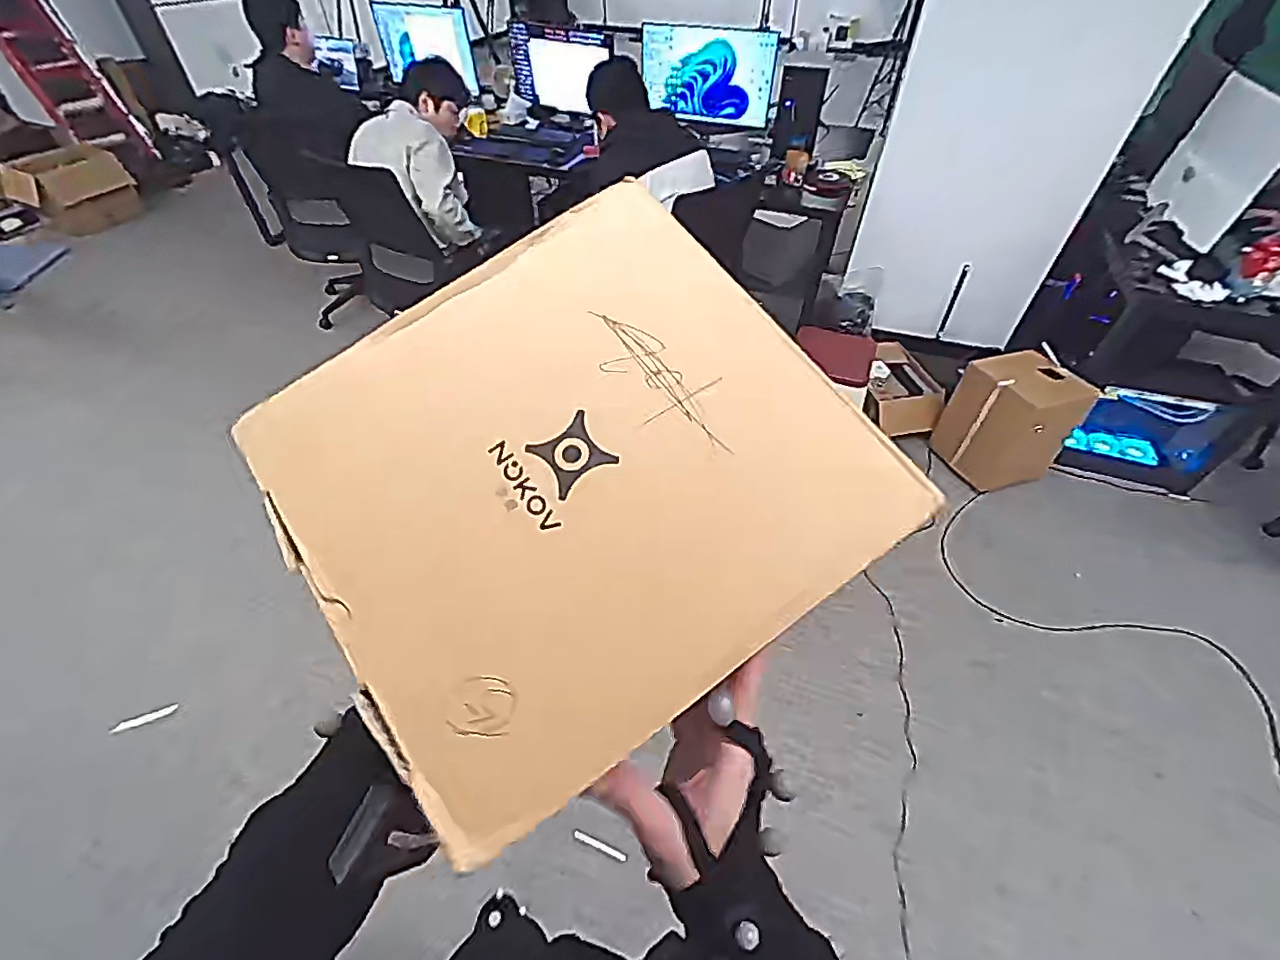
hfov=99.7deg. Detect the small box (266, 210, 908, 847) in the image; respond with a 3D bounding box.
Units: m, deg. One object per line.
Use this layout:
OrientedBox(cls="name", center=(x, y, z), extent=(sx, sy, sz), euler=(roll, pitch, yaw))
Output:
OrientedBox(cls="small box", center=(-0.019, 0.023, 0.266), extent=(0.179, 0.176, 0.168), euler=(-37, 75, -9))
